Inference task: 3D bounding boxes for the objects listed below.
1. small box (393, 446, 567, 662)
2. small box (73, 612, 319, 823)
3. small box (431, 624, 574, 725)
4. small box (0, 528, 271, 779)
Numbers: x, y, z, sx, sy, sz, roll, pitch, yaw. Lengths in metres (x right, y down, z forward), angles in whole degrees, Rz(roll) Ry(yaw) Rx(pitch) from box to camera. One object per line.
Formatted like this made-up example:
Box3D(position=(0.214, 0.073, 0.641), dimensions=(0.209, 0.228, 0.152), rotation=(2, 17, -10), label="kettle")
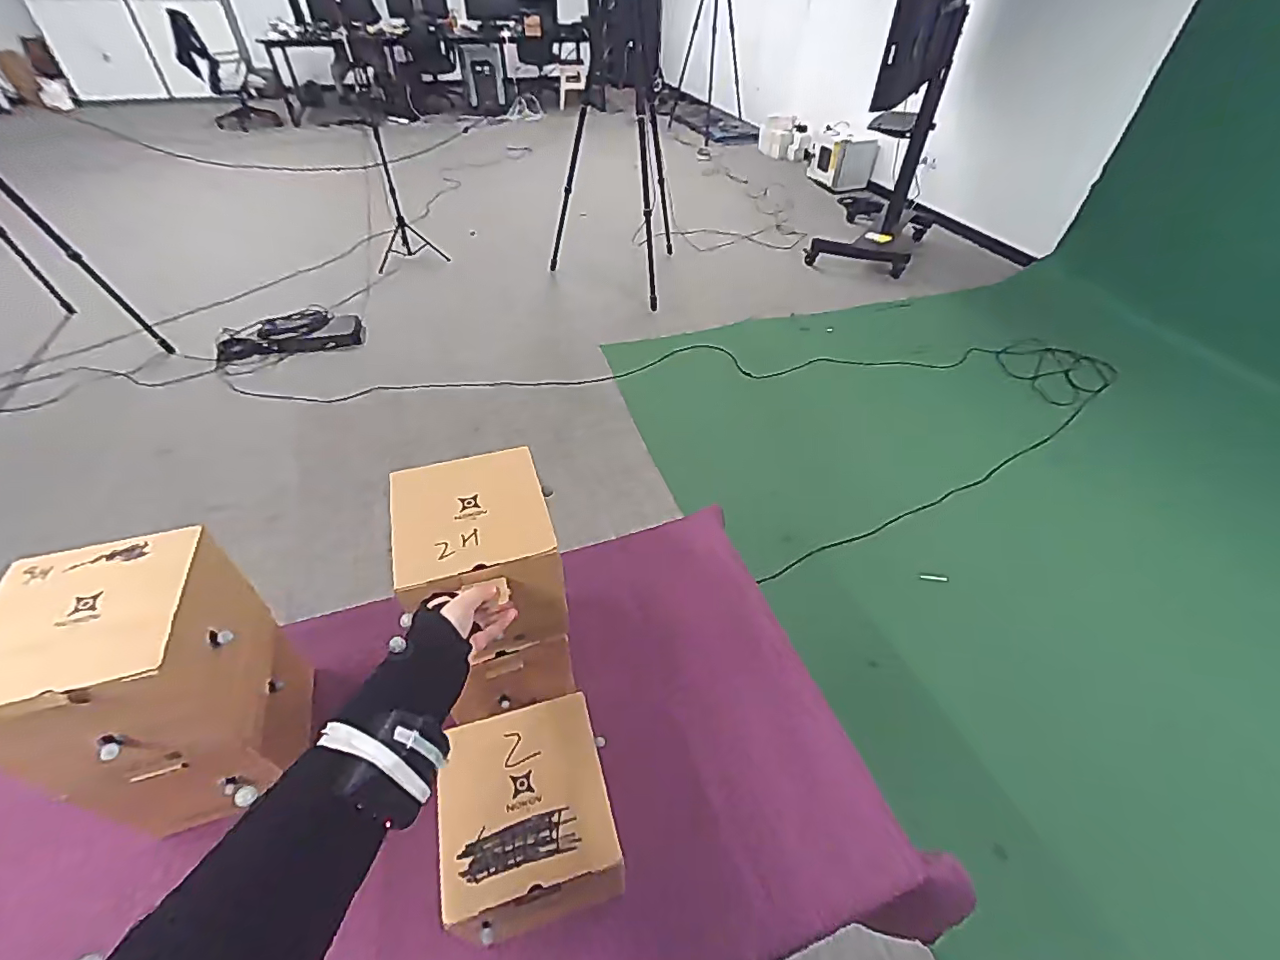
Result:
Box3D(position=(-0.190, 0.088, 0.657), dimensions=(0.168, 0.176, 0.179), rotation=(-13, 47, -14), label="small box")
Box3D(position=(-0.523, 0.299, 0.674), dimensions=(0.168, 0.176, 0.179), rotation=(-13, 46, -15), label="small box")
Box3D(position=(-0.197, 0.211, 0.767), dimensions=(0.168, 0.176, 0.179), rotation=(-15, 48, -16), label="small box")
Box3D(position=(-0.513, 0.182, 0.557), dimensions=(0.168, 0.176, 0.179), rotation=(-12, 47, -15), label="small box")
